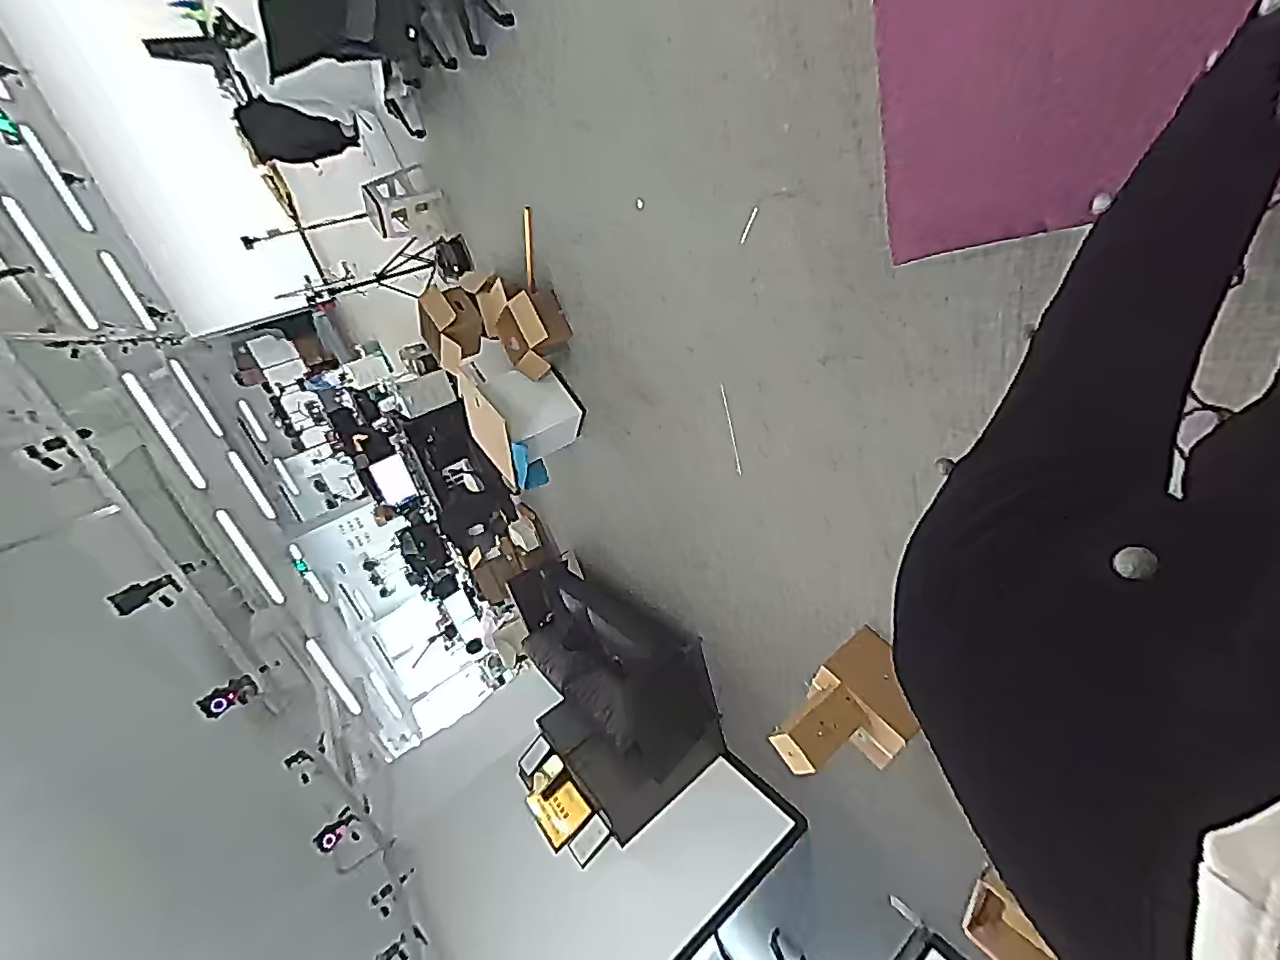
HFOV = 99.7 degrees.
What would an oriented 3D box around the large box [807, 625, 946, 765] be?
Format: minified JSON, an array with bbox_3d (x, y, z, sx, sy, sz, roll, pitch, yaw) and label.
[{"bbox_3d":[1.002,0.913,2.328,0.408,0.320,0.320,40,148,33],"label":"large box"}]

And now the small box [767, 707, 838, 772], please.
[{"bbox_3d":[0.646,1.027,2.140,0.168,0.176,0.179,52,150,17],"label":"small box"}]

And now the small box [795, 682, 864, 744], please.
[{"bbox_3d":[0.777,0.957,2.214,0.168,0.176,0.179,52,152,16],"label":"small box"}]
